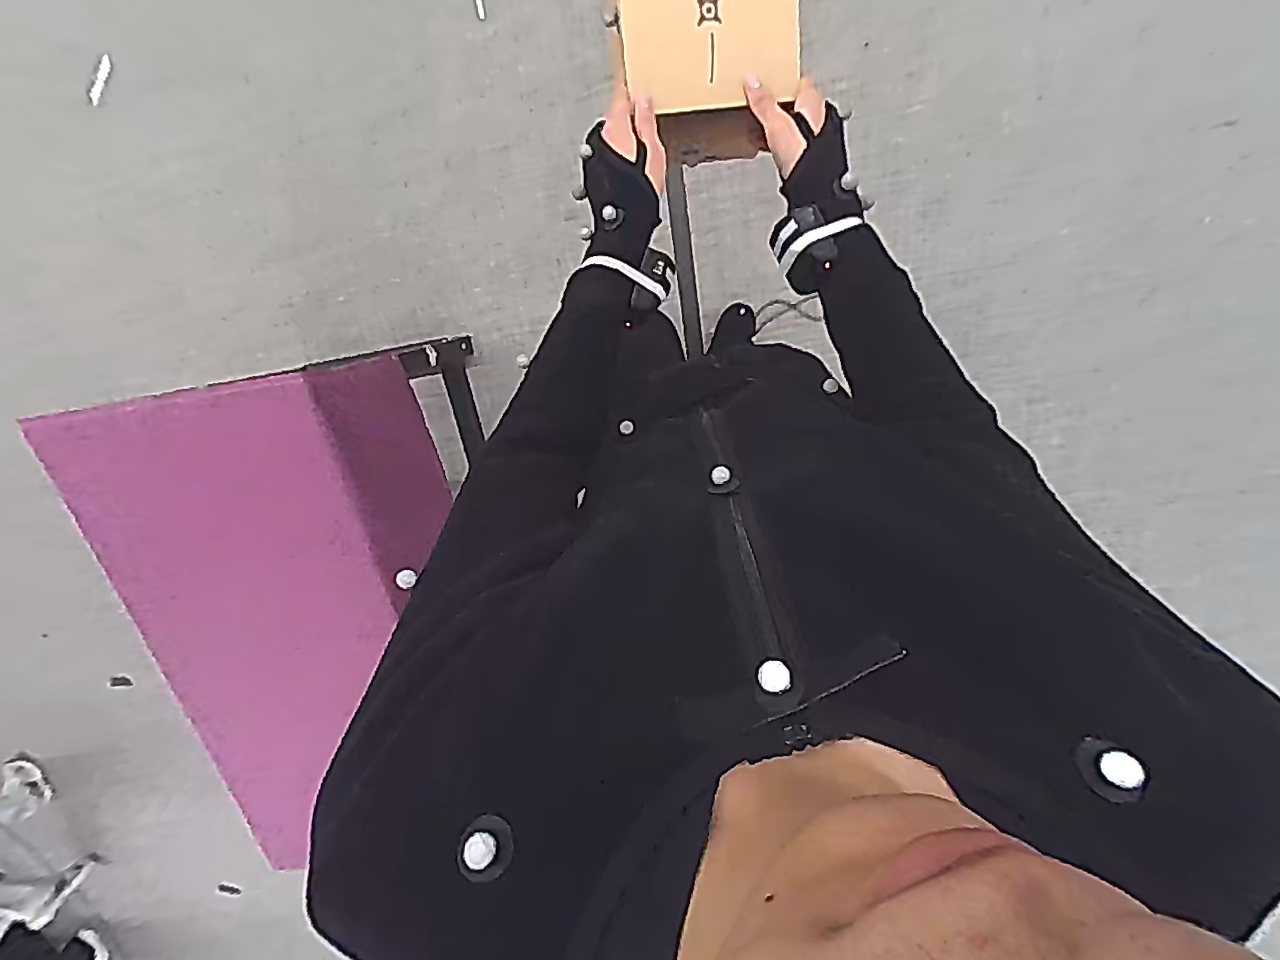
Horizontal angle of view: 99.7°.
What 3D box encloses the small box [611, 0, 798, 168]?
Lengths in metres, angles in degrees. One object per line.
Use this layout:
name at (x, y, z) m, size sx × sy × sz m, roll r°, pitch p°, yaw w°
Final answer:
small box at (0.059, -0.457, 0.573) m, size 0.168 × 0.176 × 0.179 m, roll -6°, pitch 105°, yaw -2°
